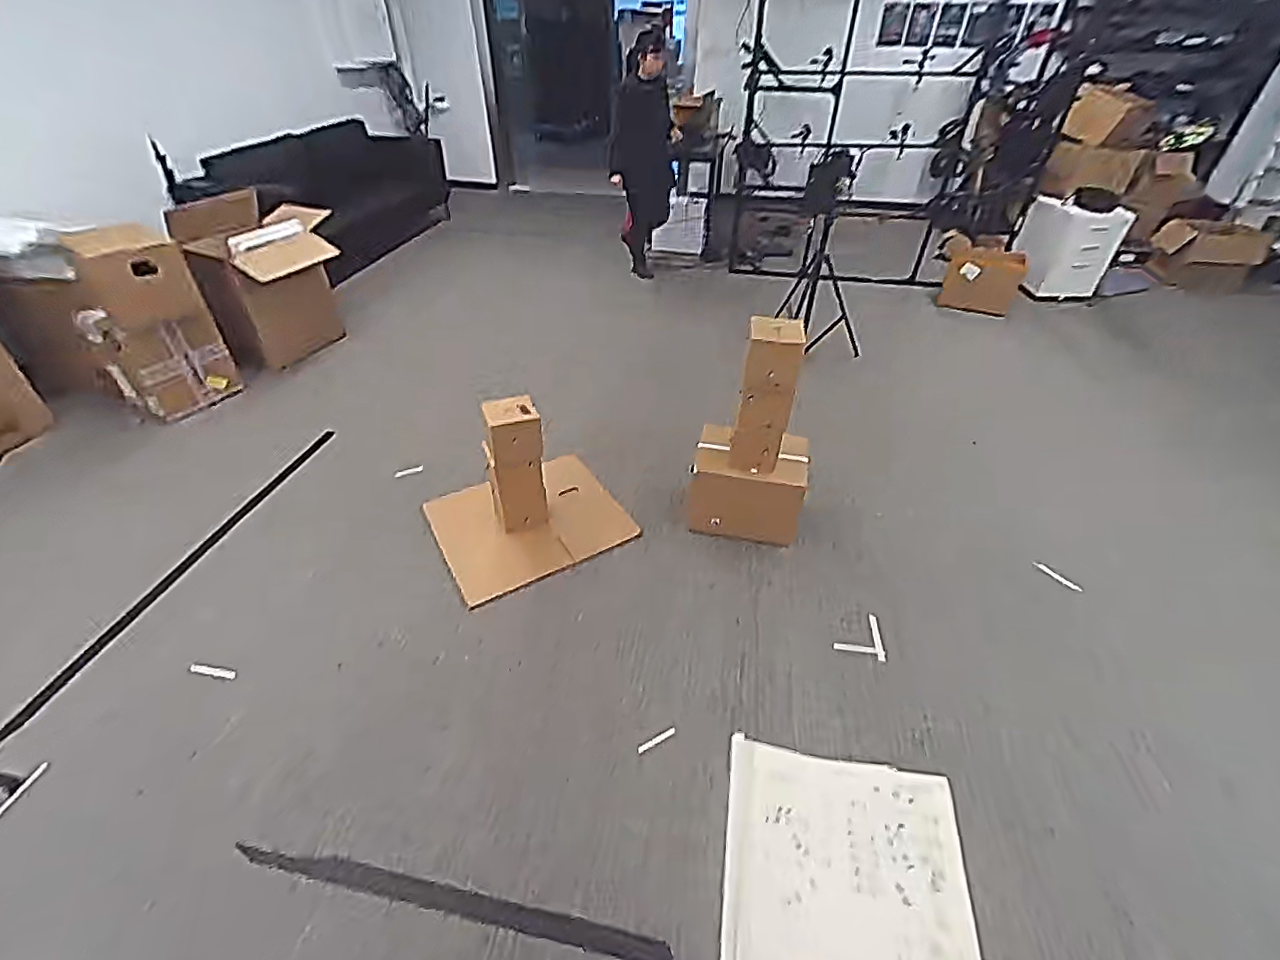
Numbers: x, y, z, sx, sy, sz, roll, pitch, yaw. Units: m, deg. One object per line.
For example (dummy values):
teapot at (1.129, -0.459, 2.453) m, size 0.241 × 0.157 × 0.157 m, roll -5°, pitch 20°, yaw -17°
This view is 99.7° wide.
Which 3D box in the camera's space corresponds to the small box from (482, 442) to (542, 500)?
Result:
small box at (-0.473, -0.048, 2.011) m, size 0.179 × 0.176 × 0.168 m, roll -15°, pitch 42°, yaw -22°

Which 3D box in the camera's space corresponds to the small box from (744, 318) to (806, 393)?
small box at (0.428, -0.400, 1.731) m, size 0.168 × 0.176 × 0.179 m, roll 7°, pitch 40°, yaw 7°

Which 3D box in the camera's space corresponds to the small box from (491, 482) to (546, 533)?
small box at (-0.474, 0.078, 2.115) m, size 0.179 × 0.176 × 0.168 m, roll -16°, pitch 42°, yaw -24°

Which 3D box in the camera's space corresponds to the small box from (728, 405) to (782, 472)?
small box at (0.410, -0.147, 1.942) m, size 0.168 × 0.176 × 0.179 m, roll 6°, pitch 39°, yaw 4°

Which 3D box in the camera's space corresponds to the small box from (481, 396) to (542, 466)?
small box at (-0.450, -0.172, 1.904) m, size 0.179 × 0.176 × 0.168 m, roll -14°, pitch 41°, yaw -19°
